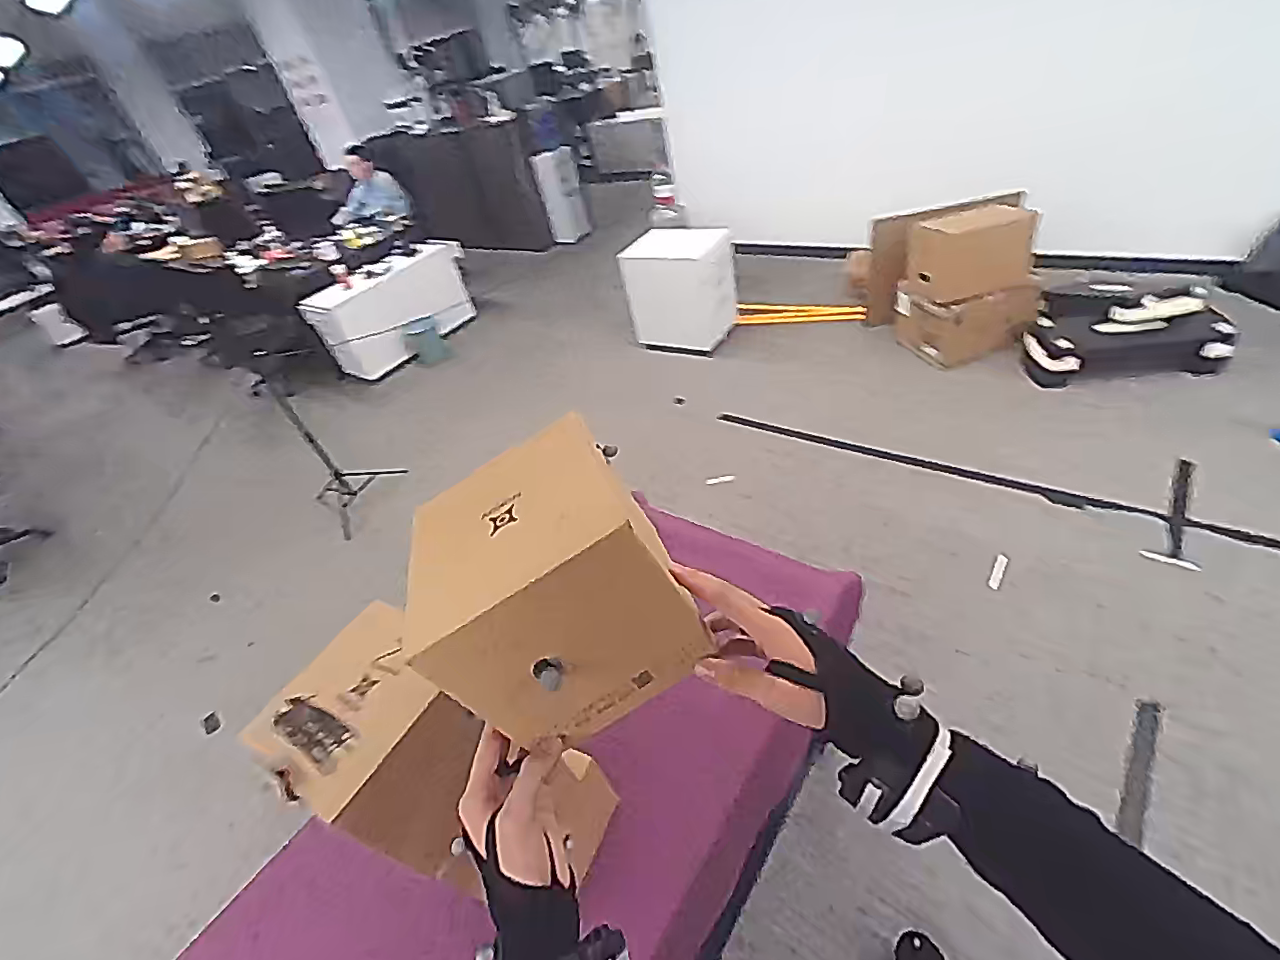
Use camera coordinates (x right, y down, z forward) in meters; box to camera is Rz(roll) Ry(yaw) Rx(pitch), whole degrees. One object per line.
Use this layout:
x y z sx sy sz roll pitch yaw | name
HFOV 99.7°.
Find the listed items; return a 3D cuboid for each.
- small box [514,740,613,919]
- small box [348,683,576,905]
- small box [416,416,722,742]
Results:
-0.158 0.497 0.793 0.168 0.176 0.179 10 46 27 | small box
-0.211 0.389 0.678 0.179 0.176 0.168 14 50 30 | small box
-0.057 0.084 0.445 0.168 0.176 0.179 -32 34 2 | small box
